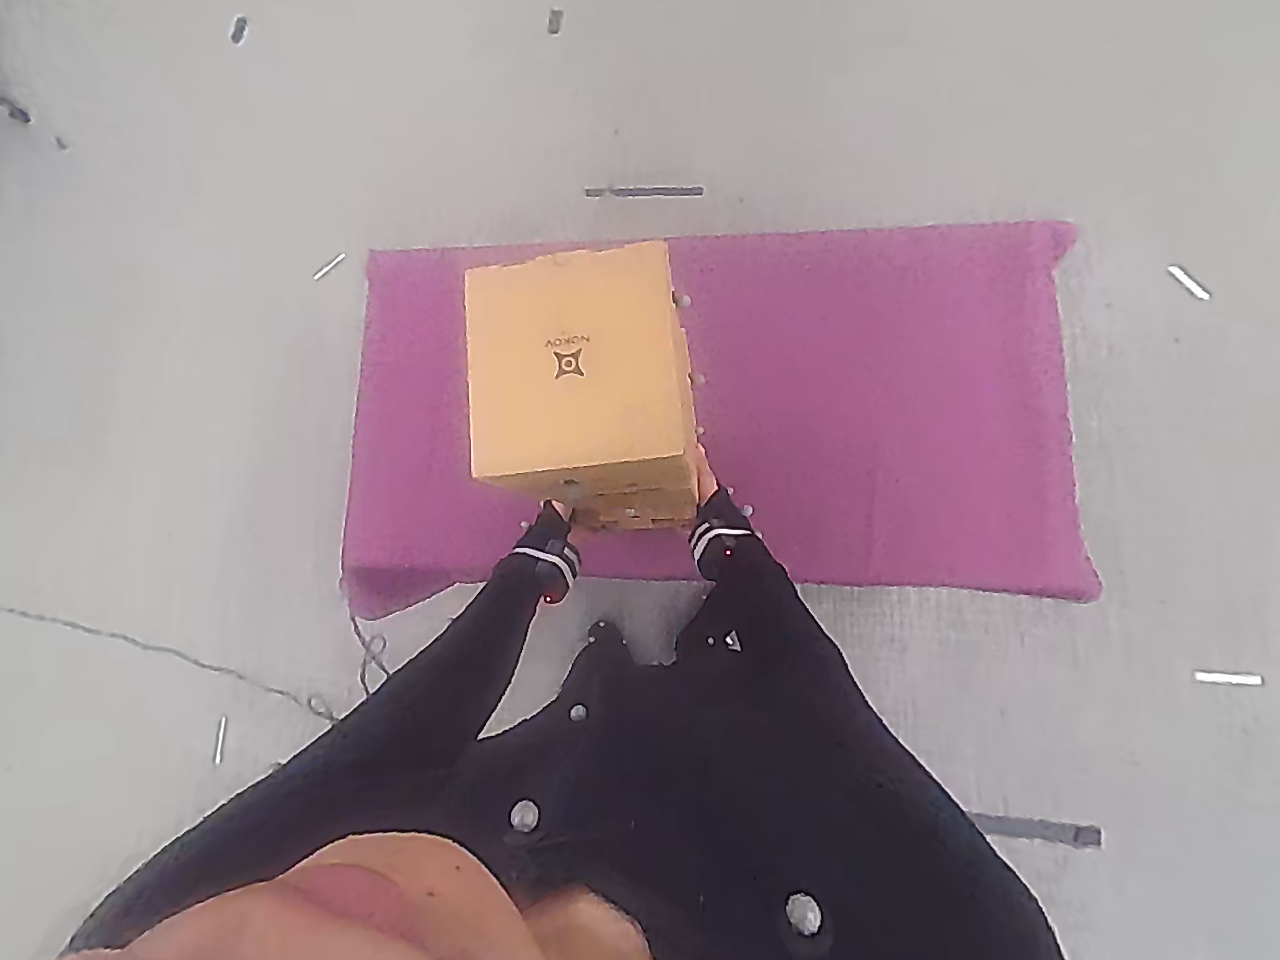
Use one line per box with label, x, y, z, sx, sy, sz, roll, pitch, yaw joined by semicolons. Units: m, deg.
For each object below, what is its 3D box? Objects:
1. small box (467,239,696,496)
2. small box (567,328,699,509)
small box;-0.041;-0.081;0.489;0.168;0.176;0.179;-6;80;7
small box;-0.015;-0.062;0.649;0.168;0.176;0.179;-3;82;8
